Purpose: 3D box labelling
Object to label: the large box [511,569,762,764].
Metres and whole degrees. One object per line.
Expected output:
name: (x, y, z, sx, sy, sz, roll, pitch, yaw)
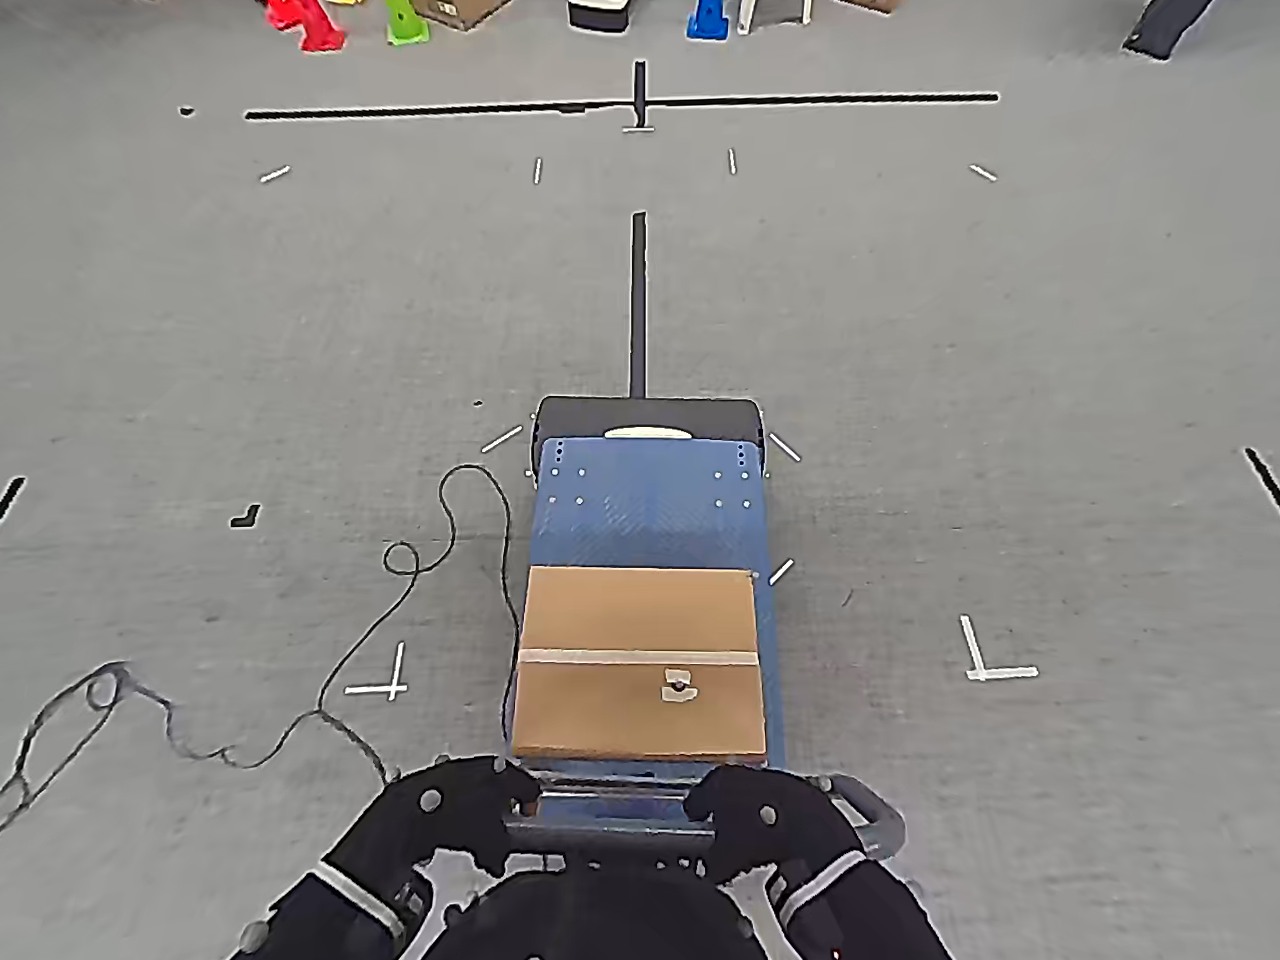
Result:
large box: (-0.007, 0.368, 1.042, 0.408, 0.320, 0.320, 1, 64, 0)
